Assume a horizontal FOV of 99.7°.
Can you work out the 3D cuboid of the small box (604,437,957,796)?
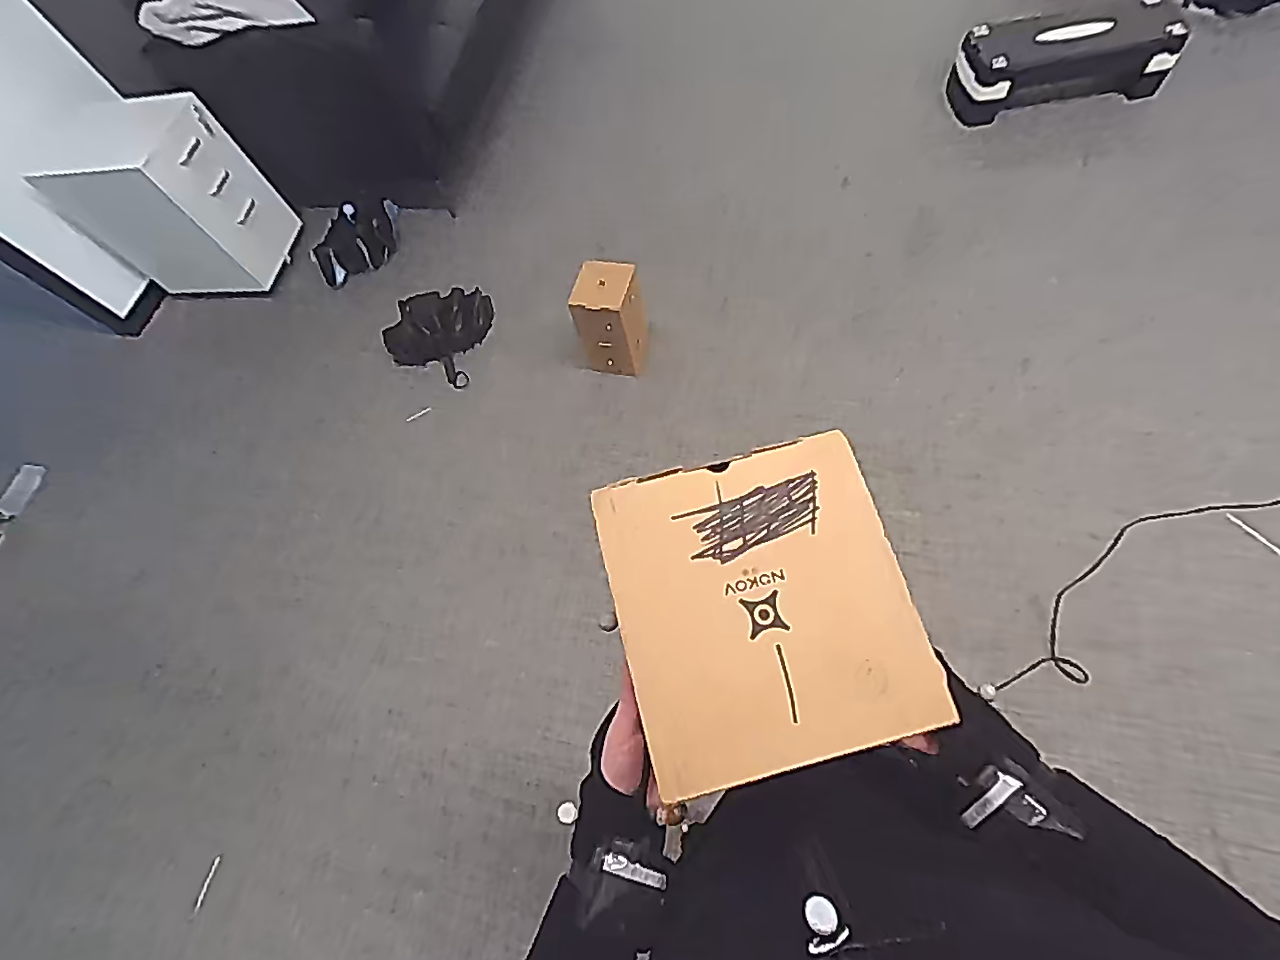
[{"bbox_3d":[0.074,0.093,0.388,0.168,0.176,0.179,-13,73,-3],"label":"small box"}]
